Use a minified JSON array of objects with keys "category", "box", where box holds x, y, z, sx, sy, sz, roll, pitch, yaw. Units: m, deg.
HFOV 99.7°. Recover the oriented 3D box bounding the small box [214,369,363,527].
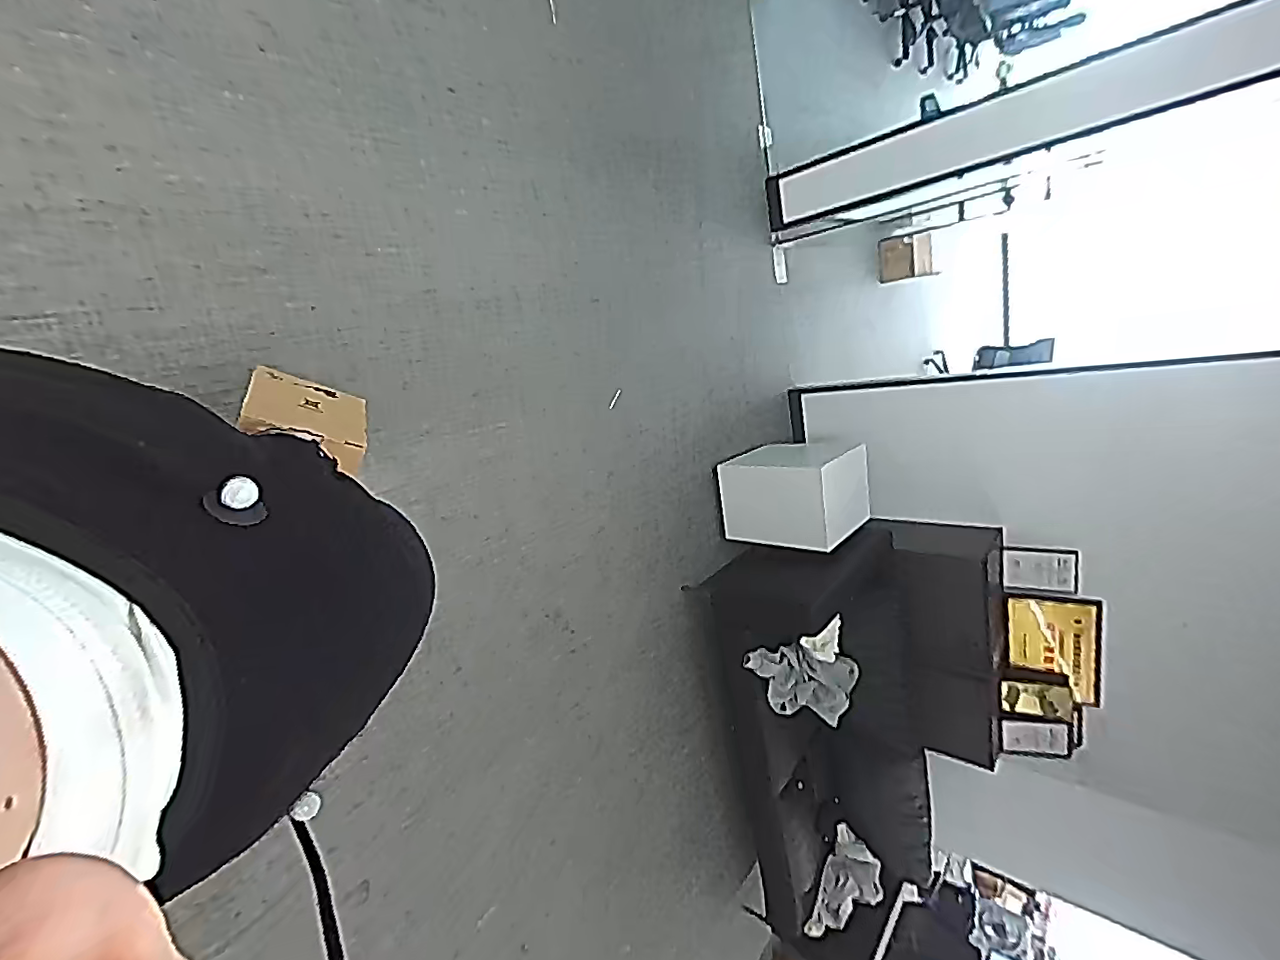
[{"category":"small box","box":[-0.563,-0.046,0.873,0.168,0.179,0.176,17,114,-38]}]
